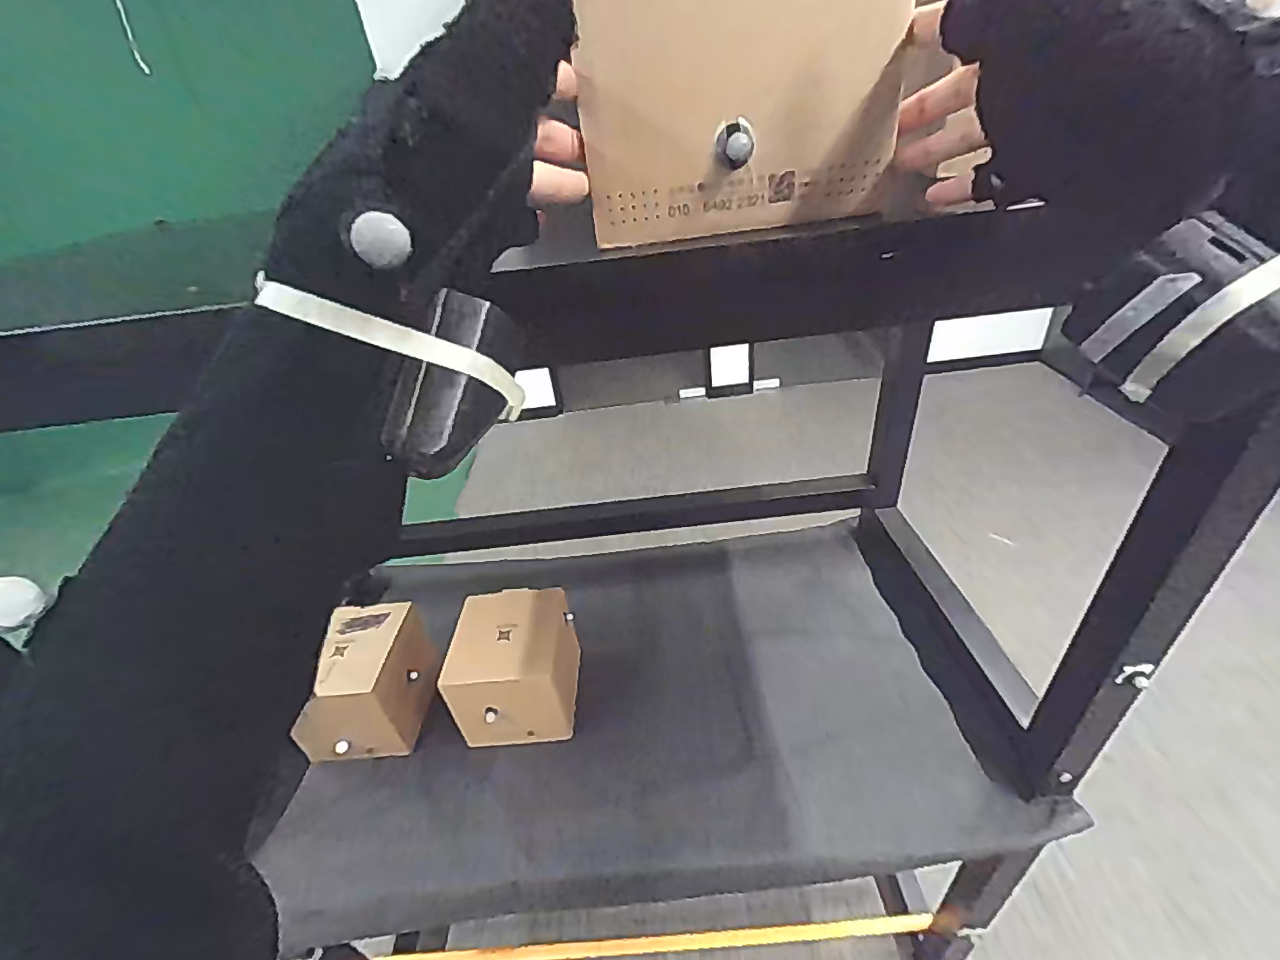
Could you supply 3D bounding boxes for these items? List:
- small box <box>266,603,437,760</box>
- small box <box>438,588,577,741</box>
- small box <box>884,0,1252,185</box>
[{"bbox_3d":[-0.452,0.328,0.886,0.168,0.176,0.179,-6,34,3],"label":"small box"},{"bbox_3d":[-0.200,0.303,0.878,0.168,0.176,0.179,-6,34,2],"label":"small box"},{"bbox_3d":[0.284,-0.317,0.385,0.168,0.176,0.179,0,35,11],"label":"small box"}]
